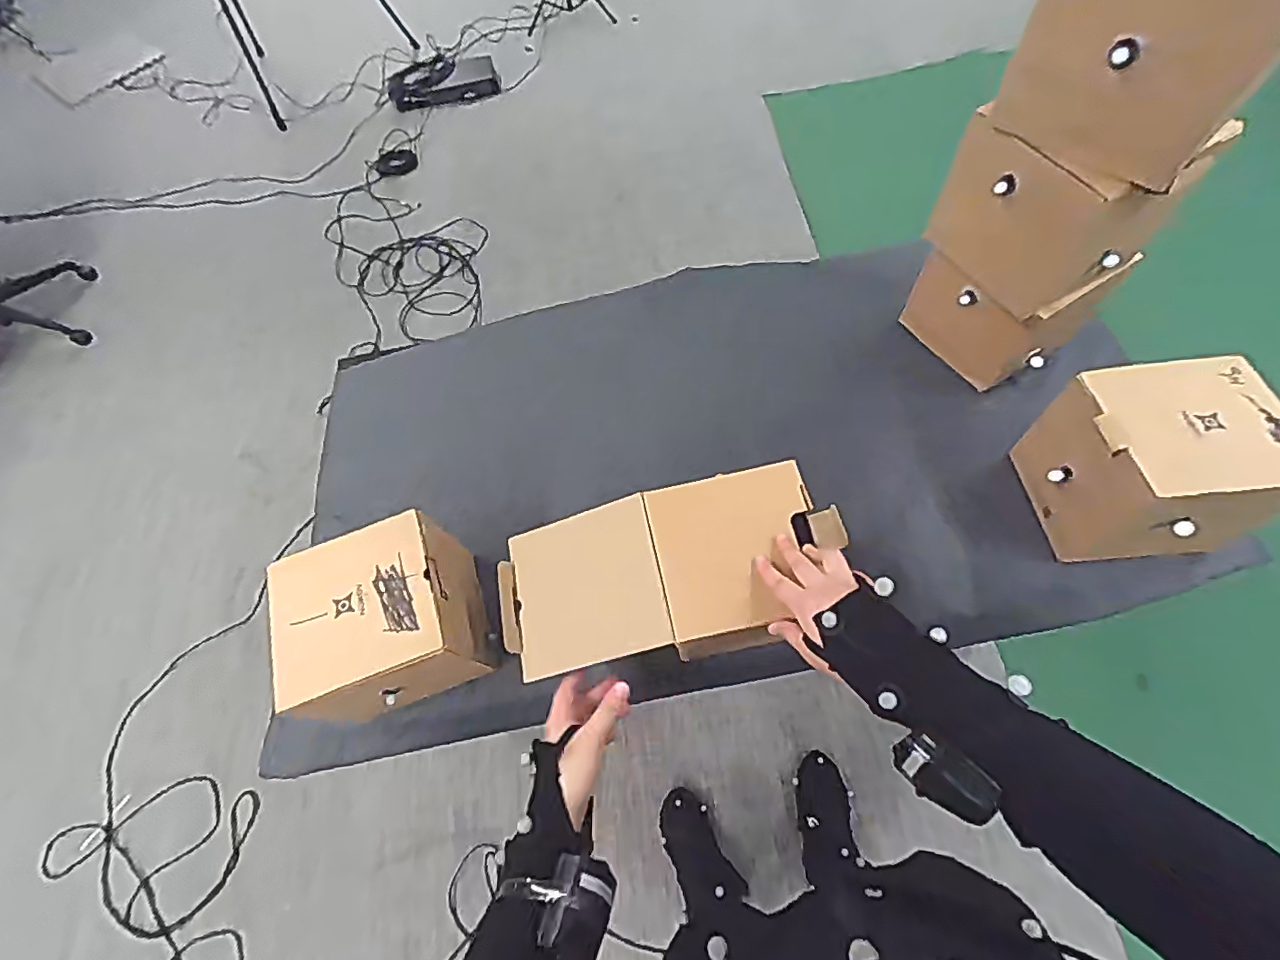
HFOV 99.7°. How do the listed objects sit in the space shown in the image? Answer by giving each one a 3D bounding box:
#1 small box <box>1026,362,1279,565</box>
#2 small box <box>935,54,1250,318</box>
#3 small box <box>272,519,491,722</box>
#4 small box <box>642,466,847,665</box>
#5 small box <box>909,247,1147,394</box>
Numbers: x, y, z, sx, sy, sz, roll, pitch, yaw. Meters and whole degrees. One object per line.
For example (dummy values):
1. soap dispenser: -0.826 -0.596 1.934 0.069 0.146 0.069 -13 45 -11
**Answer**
1. small box: 0.588 -0.010 0.622 0.179 0.176 0.168 -6 59 5
2. small box: 0.476 -0.321 0.610 0.168 0.176 0.179 -28 64 -4
3. small box: -0.290 0.172 0.638 0.179 0.176 0.168 -21 64 -3
4. small box: 0.111 0.108 0.624 0.179 0.176 0.168 -13 65 1
5. small box: 0.517 -0.256 0.757 0.168 0.176 0.179 -32 66 -6
